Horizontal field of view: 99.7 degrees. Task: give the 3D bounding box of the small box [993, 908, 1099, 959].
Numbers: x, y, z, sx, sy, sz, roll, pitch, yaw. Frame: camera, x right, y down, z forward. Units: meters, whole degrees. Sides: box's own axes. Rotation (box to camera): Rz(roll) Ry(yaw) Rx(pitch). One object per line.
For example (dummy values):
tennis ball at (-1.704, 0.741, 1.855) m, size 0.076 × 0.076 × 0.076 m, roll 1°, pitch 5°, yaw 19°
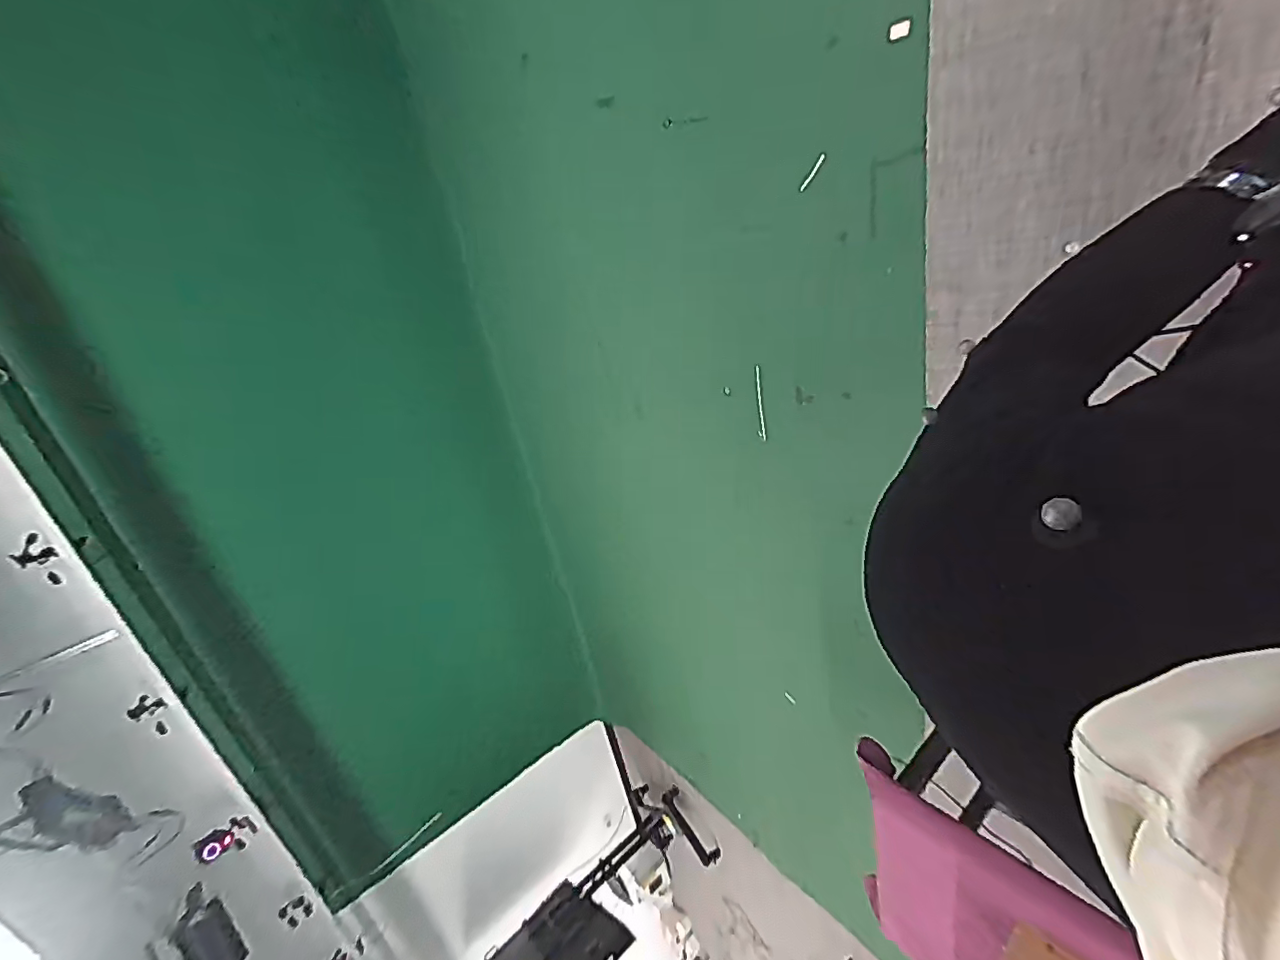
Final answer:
small box at (0.854, 1.068, 1.131) m, size 0.168 × 0.176 × 0.179 m, roll 19°, pitch 129°, yaw 50°
